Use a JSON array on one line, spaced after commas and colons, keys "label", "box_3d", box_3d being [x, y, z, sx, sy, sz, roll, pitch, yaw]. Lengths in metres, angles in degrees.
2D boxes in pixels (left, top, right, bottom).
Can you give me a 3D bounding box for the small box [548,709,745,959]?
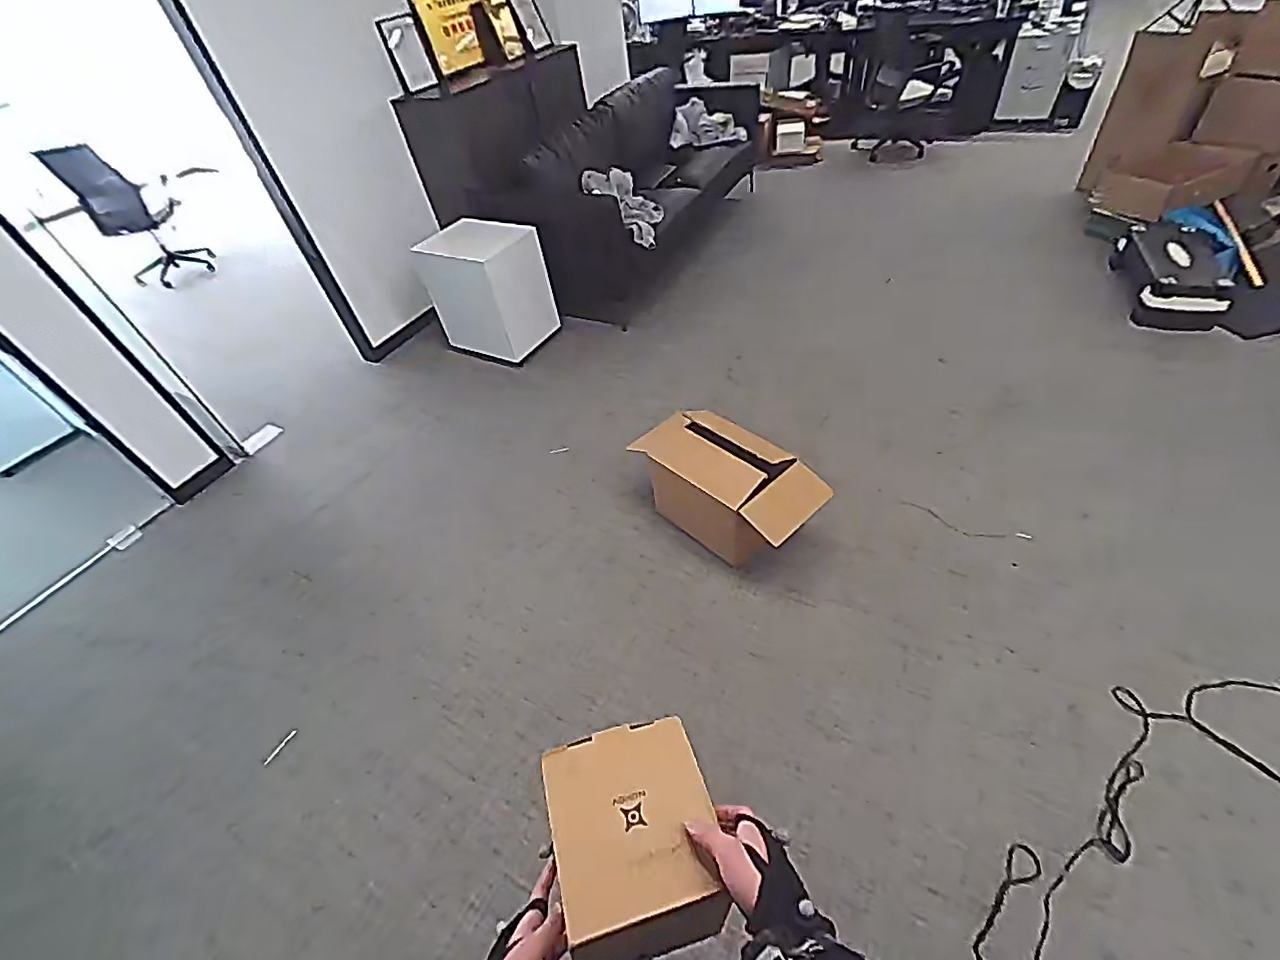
[{"label": "small box", "box_3d": [-0.004, 0.387, 0.587, 0.168, 0.176, 0.179, -9, 39, -11]}]
